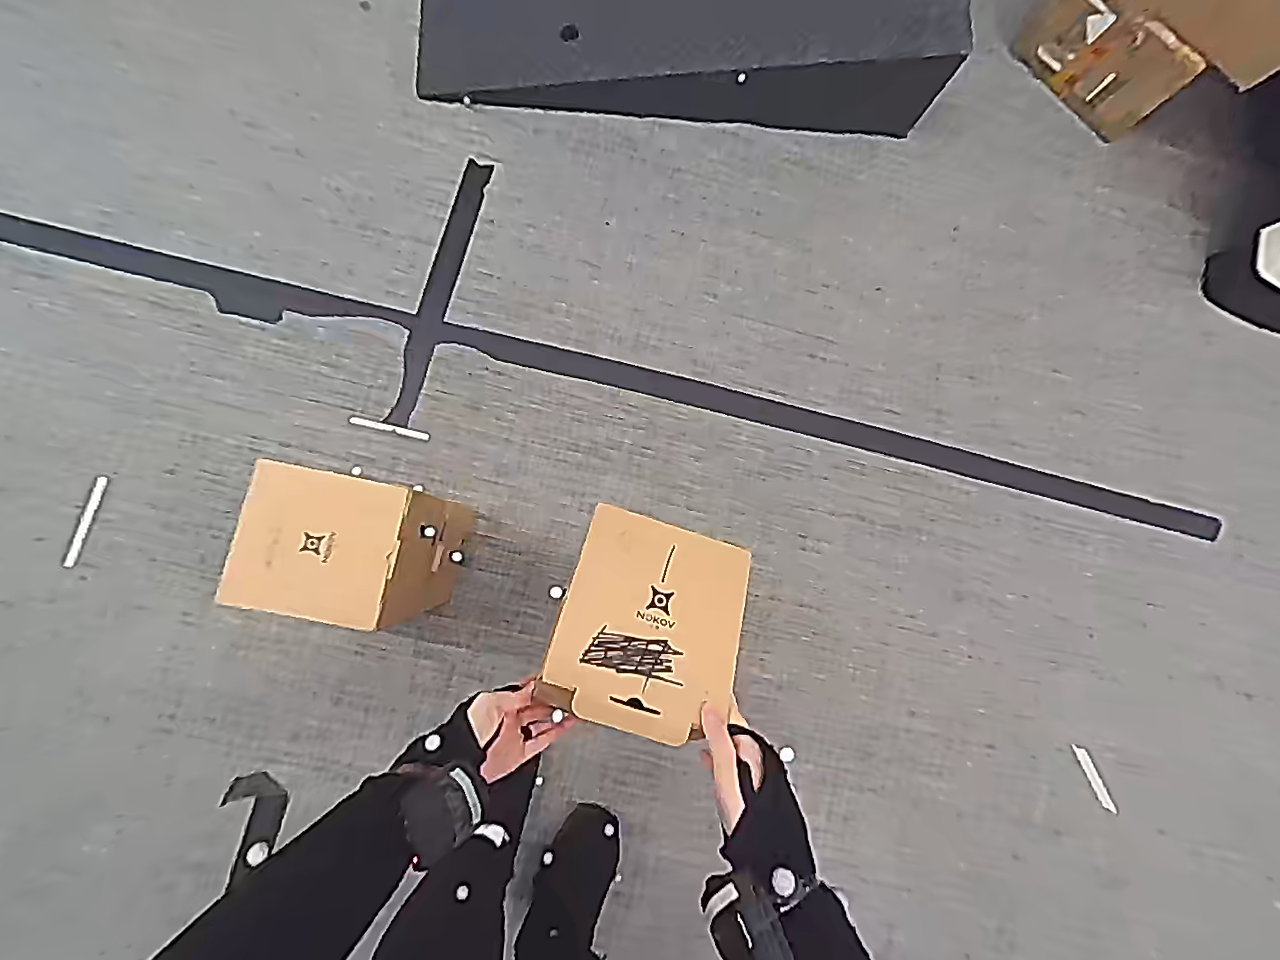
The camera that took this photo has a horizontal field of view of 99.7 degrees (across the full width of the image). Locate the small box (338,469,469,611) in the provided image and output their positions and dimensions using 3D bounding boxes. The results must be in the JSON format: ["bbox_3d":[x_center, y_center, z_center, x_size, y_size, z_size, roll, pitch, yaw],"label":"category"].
[{"bbox_3d":[-0.379,0.091,0.831,0.179,0.176,0.168,15,82,-5],"label":"small box"}]

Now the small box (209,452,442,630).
[{"bbox_3d":[-0.365,0.075,0.669,0.179,0.176,0.168,13,82,-3],"label":"small box"}]

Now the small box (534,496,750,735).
[{"bbox_3d":[-0.005,0.150,0.559,0.168,0.176,0.179,19,58,-5],"label":"small box"}]
